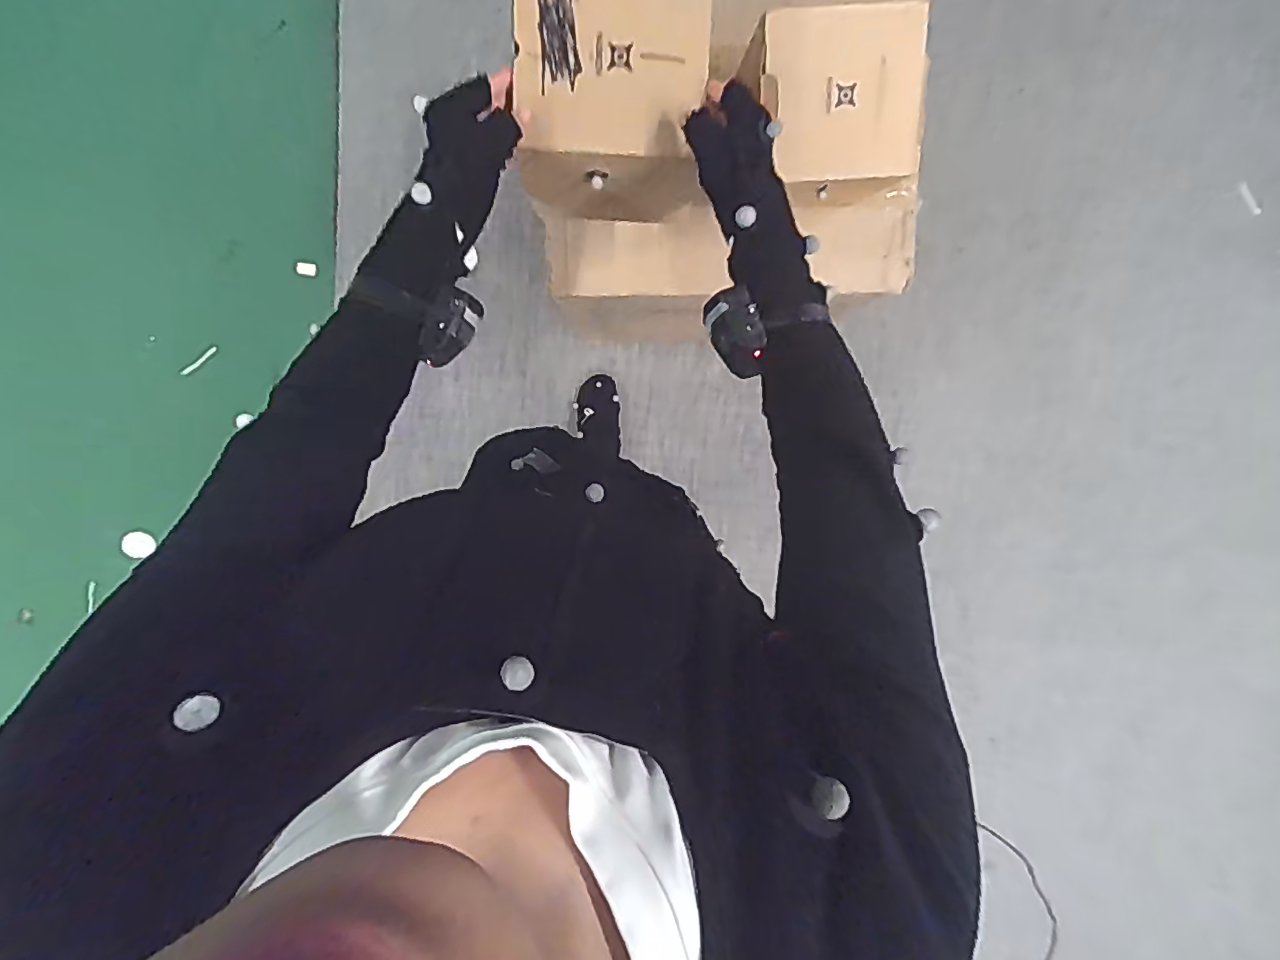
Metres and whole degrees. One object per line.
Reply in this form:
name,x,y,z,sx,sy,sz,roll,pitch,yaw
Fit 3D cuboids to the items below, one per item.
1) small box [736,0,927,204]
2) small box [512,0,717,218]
small box,0.218,-0.449,0.668,0.179,0.176,0.168,-4,108,-1
small box,-0.024,-0.382,0.546,0.179,0.176,0.168,2,96,-3
